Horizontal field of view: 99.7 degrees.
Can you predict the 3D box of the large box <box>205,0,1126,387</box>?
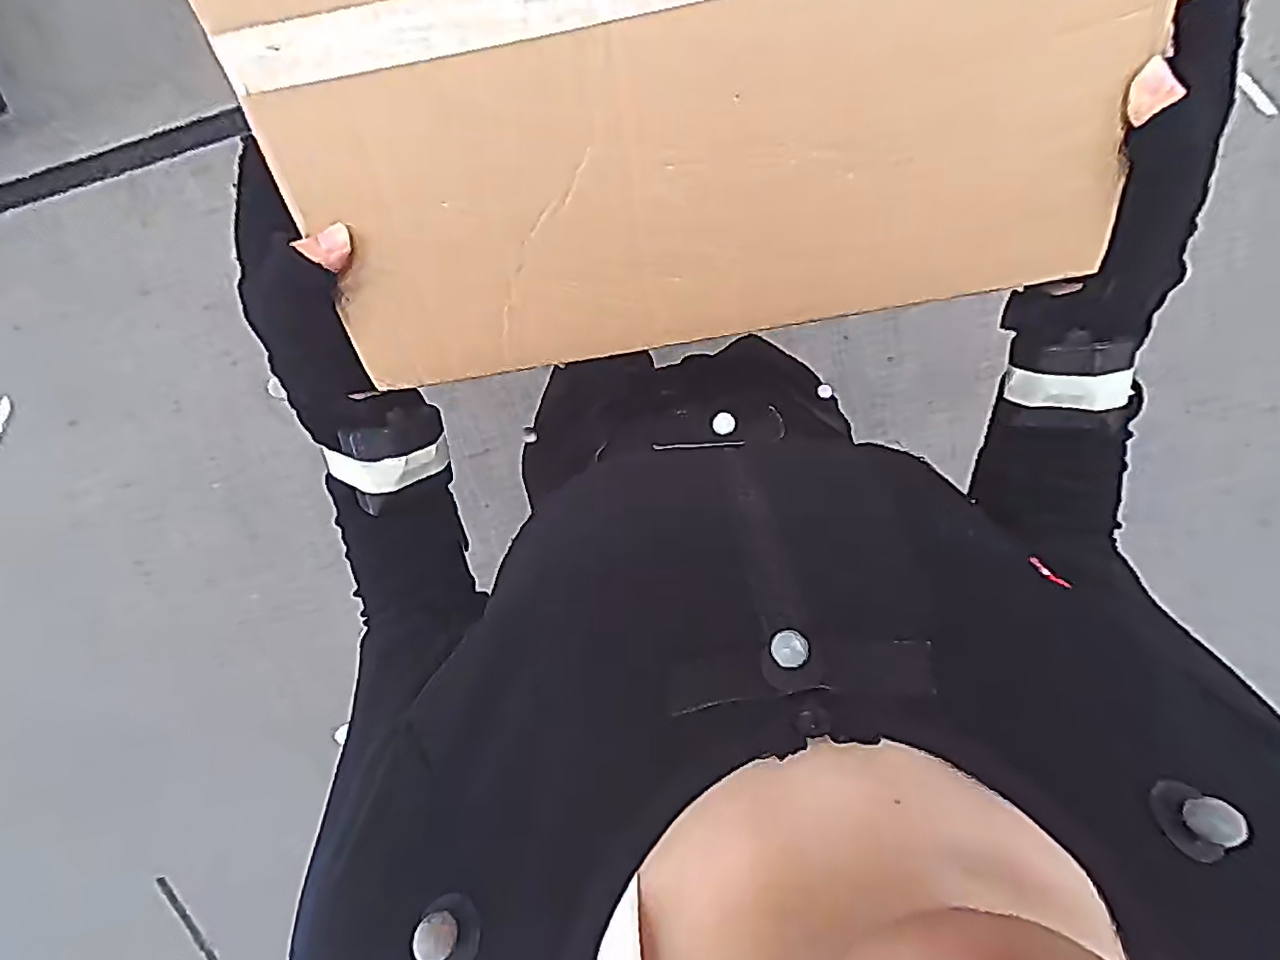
[{"bbox_3d":[0.012,-0.295,0.355,0.408,0.320,0.320,-9,123,4],"label":"large box"}]
